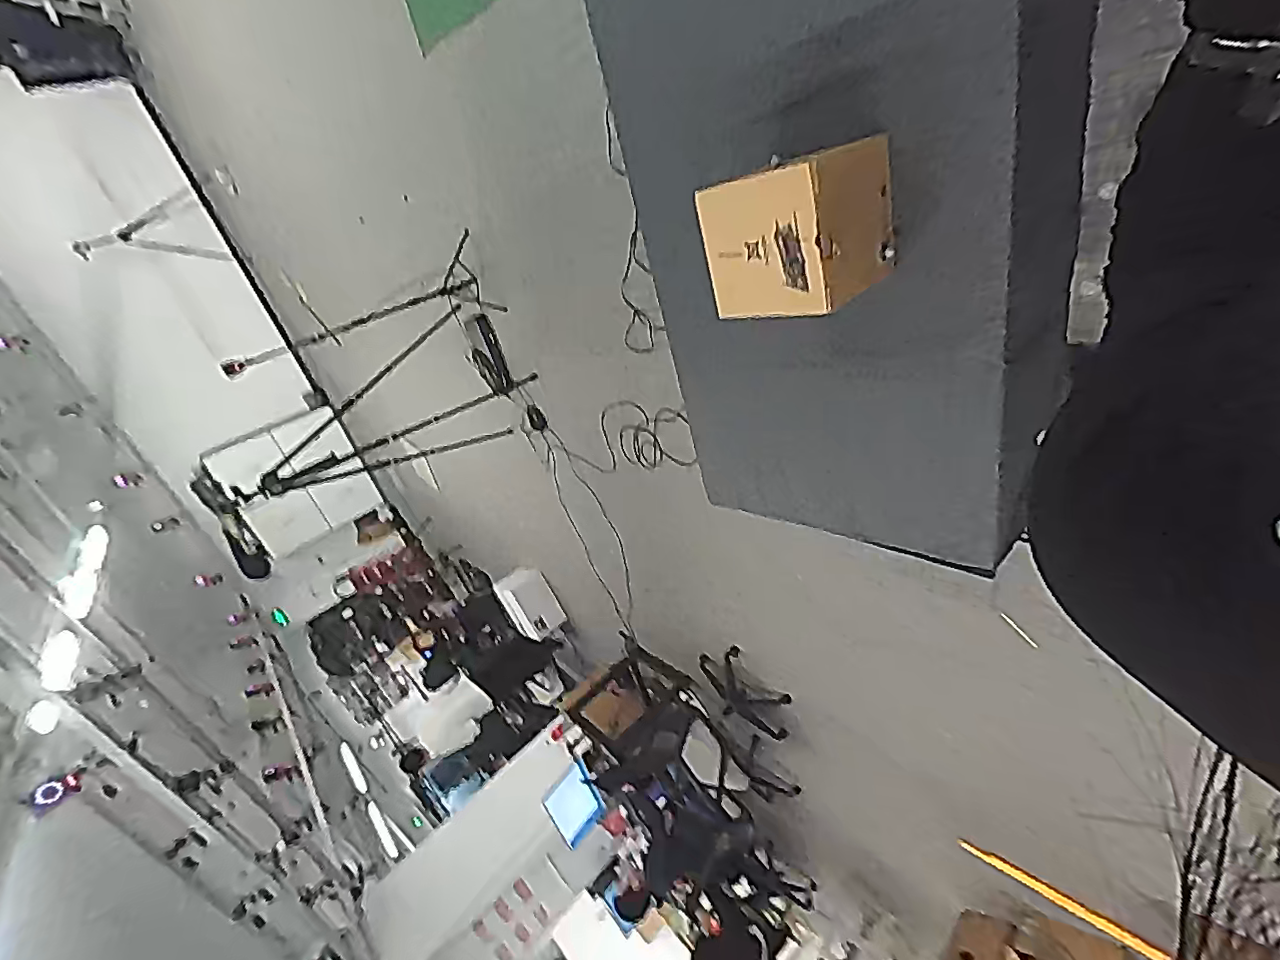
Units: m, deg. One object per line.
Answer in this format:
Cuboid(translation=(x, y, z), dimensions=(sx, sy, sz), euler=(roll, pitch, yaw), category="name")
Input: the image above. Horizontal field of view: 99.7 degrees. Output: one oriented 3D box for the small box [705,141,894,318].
Cuboid(translation=(0.220, -0.327, 0.720), dimensions=(0.179, 0.176, 0.168), euler=(16, 132, 49), category="small box")
